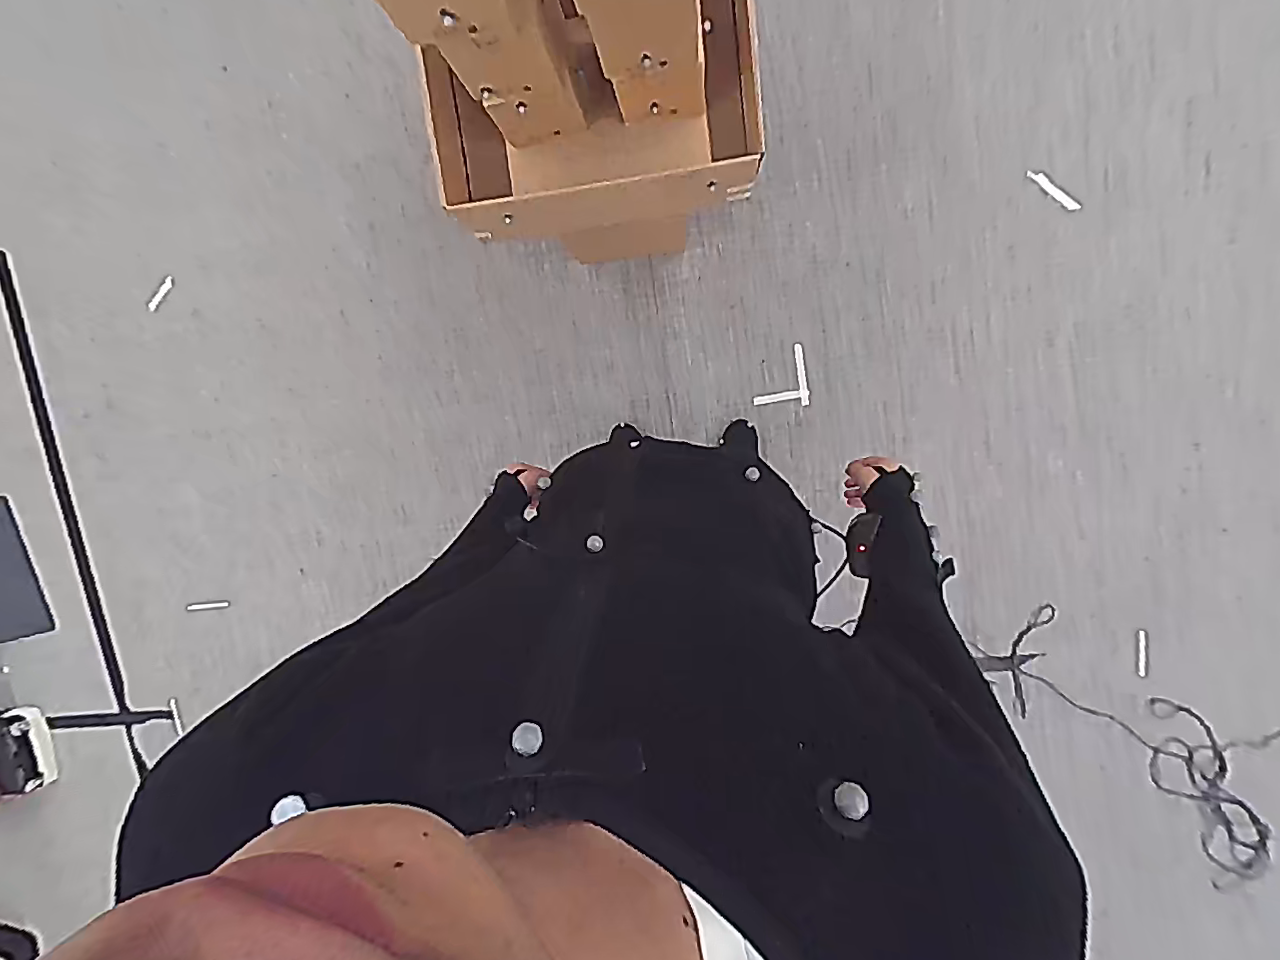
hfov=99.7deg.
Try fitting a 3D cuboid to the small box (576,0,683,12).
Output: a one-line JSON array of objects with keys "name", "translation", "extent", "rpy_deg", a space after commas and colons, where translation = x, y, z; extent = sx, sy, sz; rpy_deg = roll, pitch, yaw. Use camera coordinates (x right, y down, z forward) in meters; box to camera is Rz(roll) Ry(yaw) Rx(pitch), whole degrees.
[{"name": "small box", "translation": [-0.012, -0.746, 0.691], "extent": [0.179, 0.176, 0.168], "rpy_deg": [3, 99, 6]}]

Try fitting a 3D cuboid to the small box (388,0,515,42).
[{"name": "small box", "translation": [-0.272, -0.733, 0.715], "extent": [0.168, 0.176, 0.179], "rpy_deg": [-2, 99, 5]}]
